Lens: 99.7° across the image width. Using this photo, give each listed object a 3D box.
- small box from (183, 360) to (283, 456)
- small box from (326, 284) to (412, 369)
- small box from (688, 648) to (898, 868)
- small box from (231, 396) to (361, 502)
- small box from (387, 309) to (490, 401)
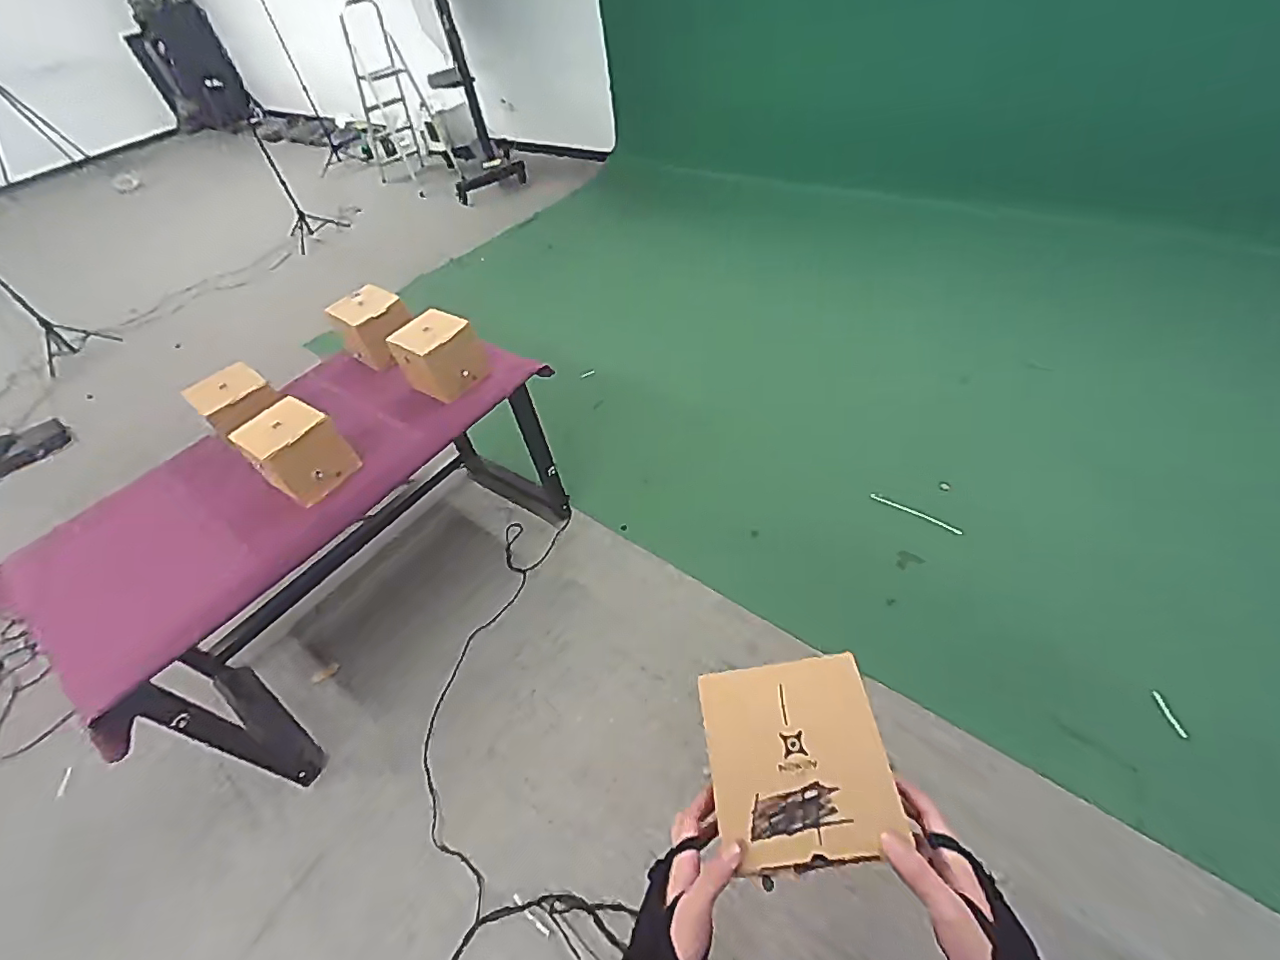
[{"bbox_3d":[-1.061,-0.188,1.454,0.179,0.176,0.168,29,58,30],"label":"small box"},{"bbox_3d":[-0.807,-0.465,1.657,0.179,0.176,0.168,29,58,27],"label":"small box"},{"bbox_3d":[0.154,0.303,0.581,0.168,0.176,0.179,-11,52,6],"label":"small box"},{"bbox_3d":[-0.826,-0.073,1.311,0.179,0.176,0.168,23,55,27],"label":"small box"},{"bbox_3d":[-0.555,-0.346,1.507,0.179,0.176,0.168,25,58,29],"label":"small box"}]
